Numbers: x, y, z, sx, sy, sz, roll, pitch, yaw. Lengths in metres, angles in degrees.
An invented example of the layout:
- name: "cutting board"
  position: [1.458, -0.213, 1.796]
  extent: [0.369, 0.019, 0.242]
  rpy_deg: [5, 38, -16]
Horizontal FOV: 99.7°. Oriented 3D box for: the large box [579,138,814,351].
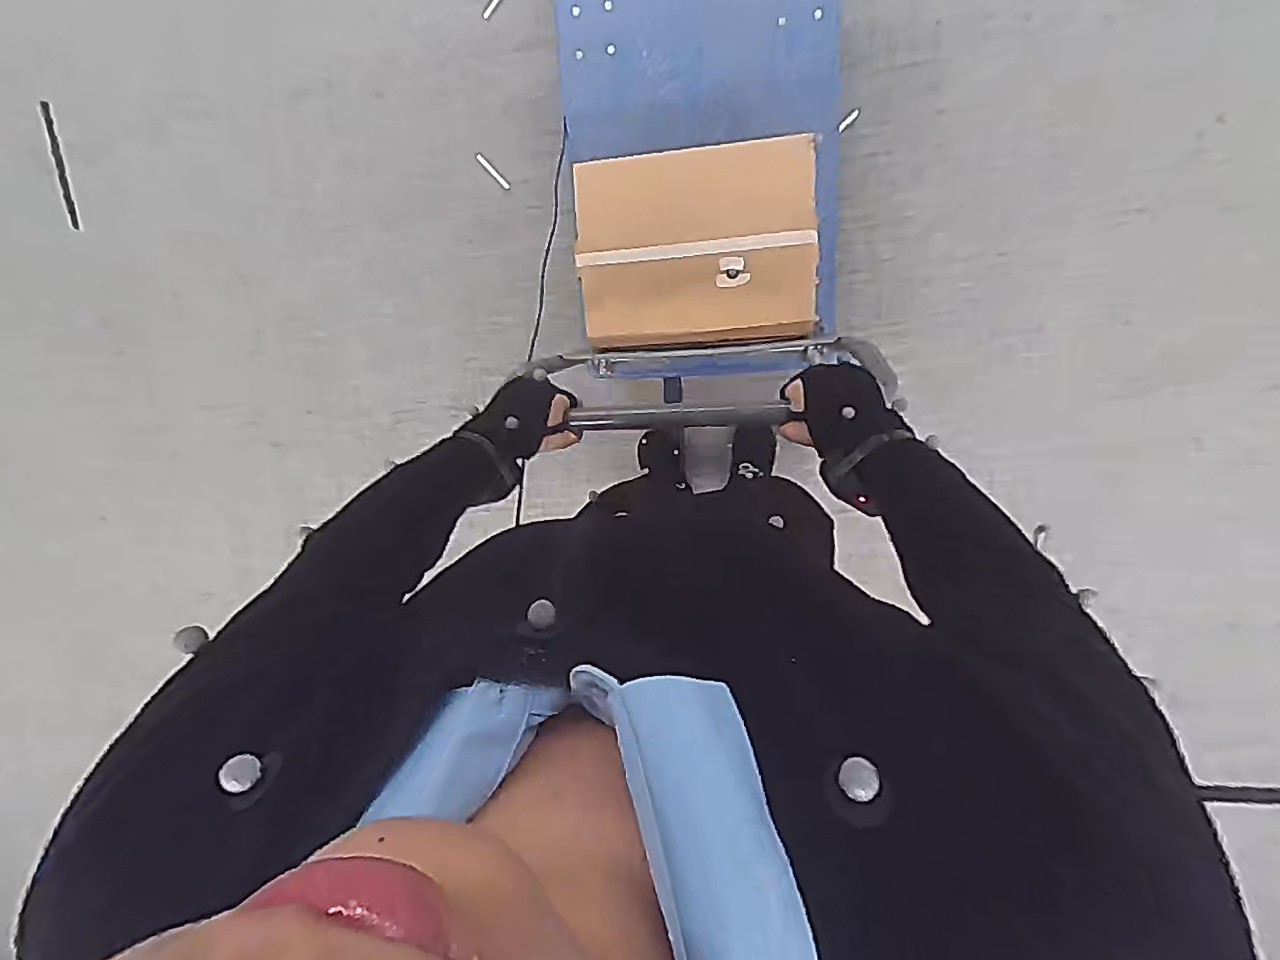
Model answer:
- name: "large box"
  position: [0.119, -0.435, 1.088]
  extent: [0.408, 0.320, 0.320]
  rpy_deg: [-2, 104, 9]
